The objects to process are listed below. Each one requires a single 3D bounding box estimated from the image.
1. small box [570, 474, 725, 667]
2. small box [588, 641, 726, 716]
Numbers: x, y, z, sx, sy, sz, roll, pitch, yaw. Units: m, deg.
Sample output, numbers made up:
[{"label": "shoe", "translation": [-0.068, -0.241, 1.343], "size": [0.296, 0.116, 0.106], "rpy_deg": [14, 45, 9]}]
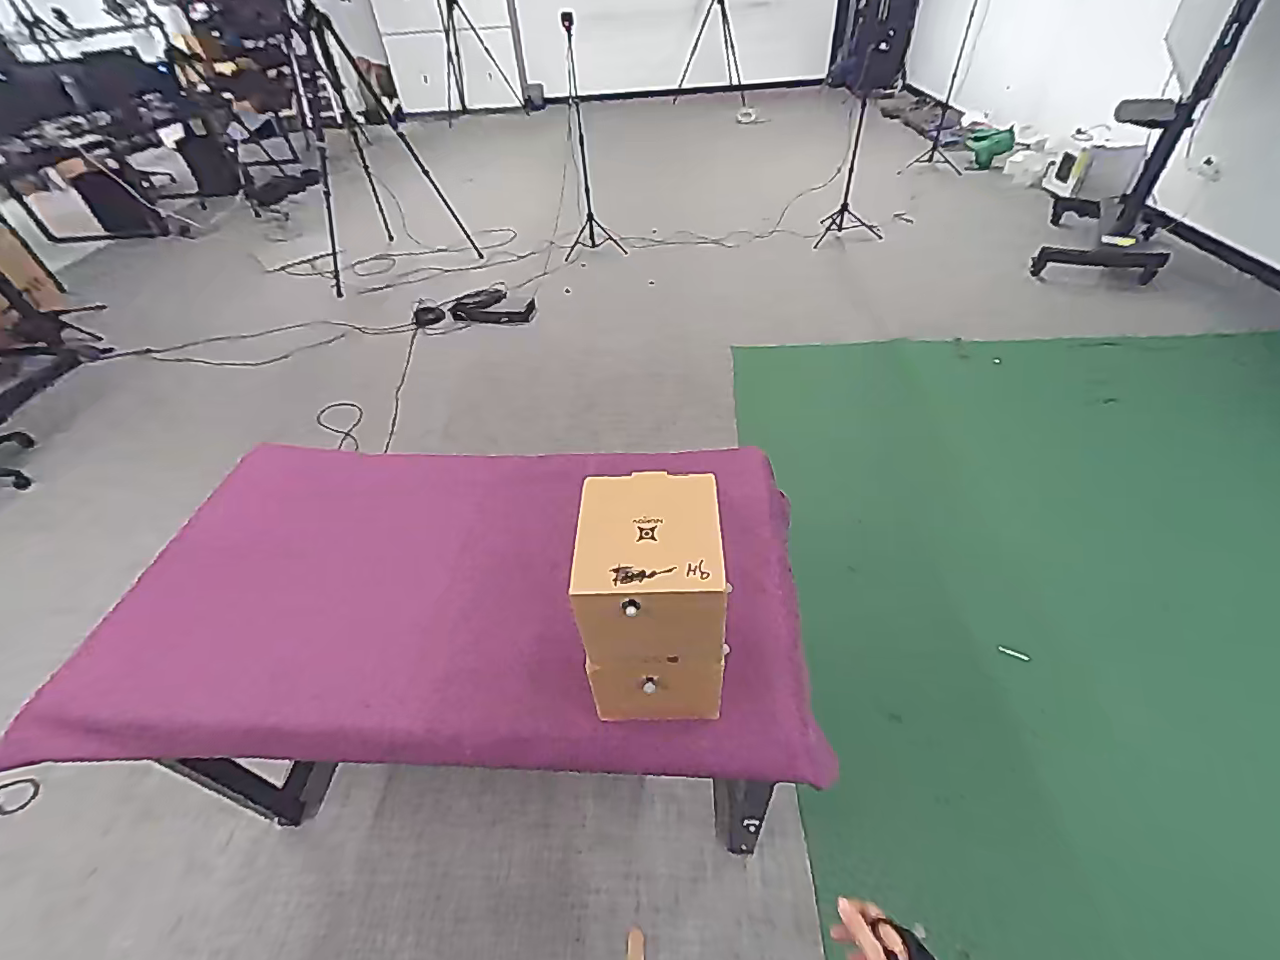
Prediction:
[{"label": "small box", "translation": [0.017, 0.113, 0.677], "size": [0.168, 0.176, 0.179], "rpy_deg": [-4, 44, 6]}, {"label": "small box", "translation": [0.029, 0.232, 0.790], "size": [0.179, 0.176, 0.168], "rpy_deg": [-4, 45, 5]}]
